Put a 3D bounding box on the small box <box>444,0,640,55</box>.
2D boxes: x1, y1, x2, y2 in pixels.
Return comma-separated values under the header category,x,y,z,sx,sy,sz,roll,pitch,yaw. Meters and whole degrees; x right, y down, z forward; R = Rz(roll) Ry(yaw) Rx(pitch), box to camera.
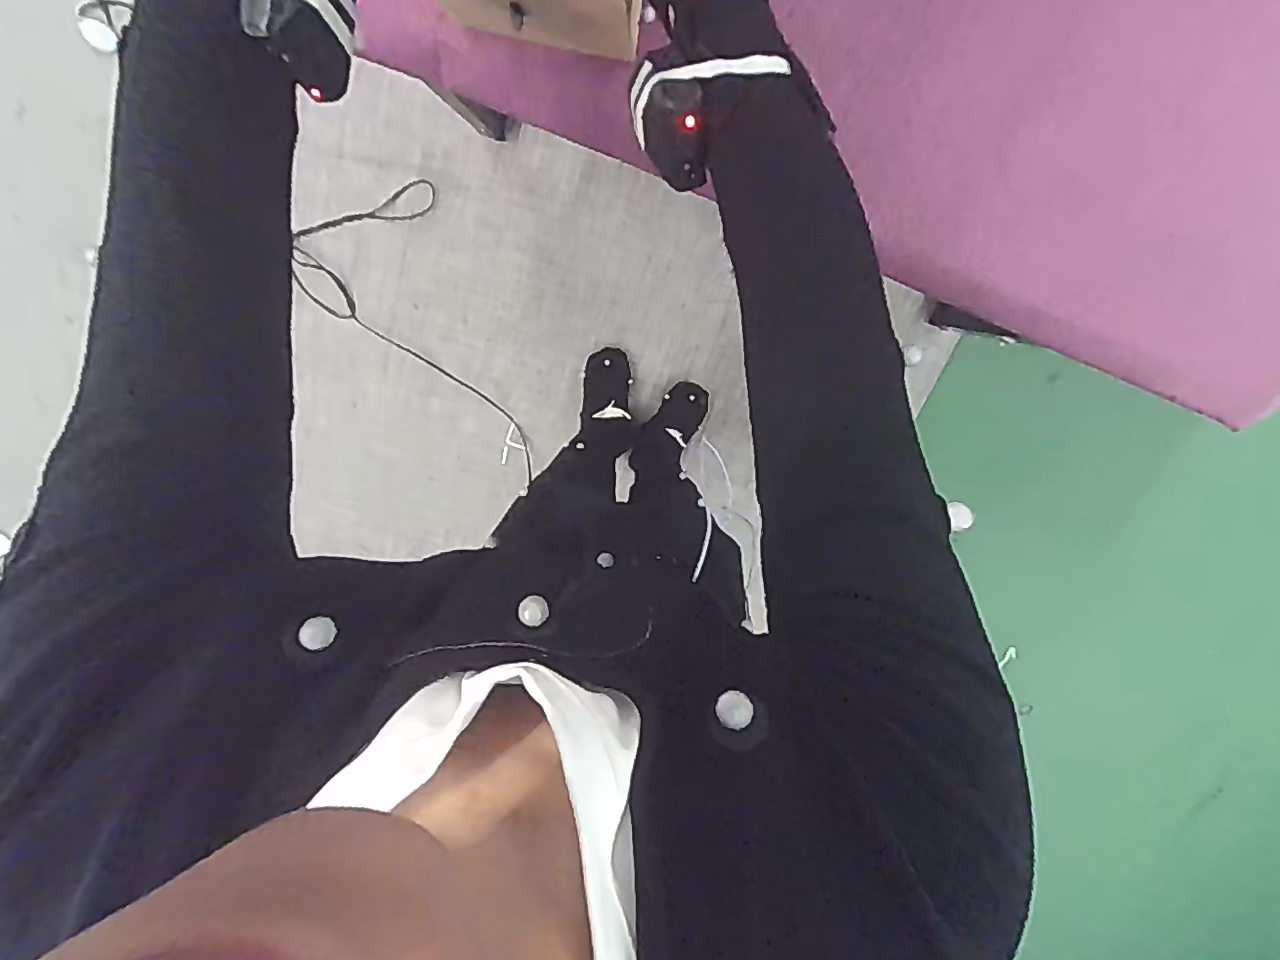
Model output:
category,x,y,z,sx,sy,sz,roll,pitch,yaw
small box,-0.076,-0.466,0.421,0.179,0.176,0.168,10,115,-5
